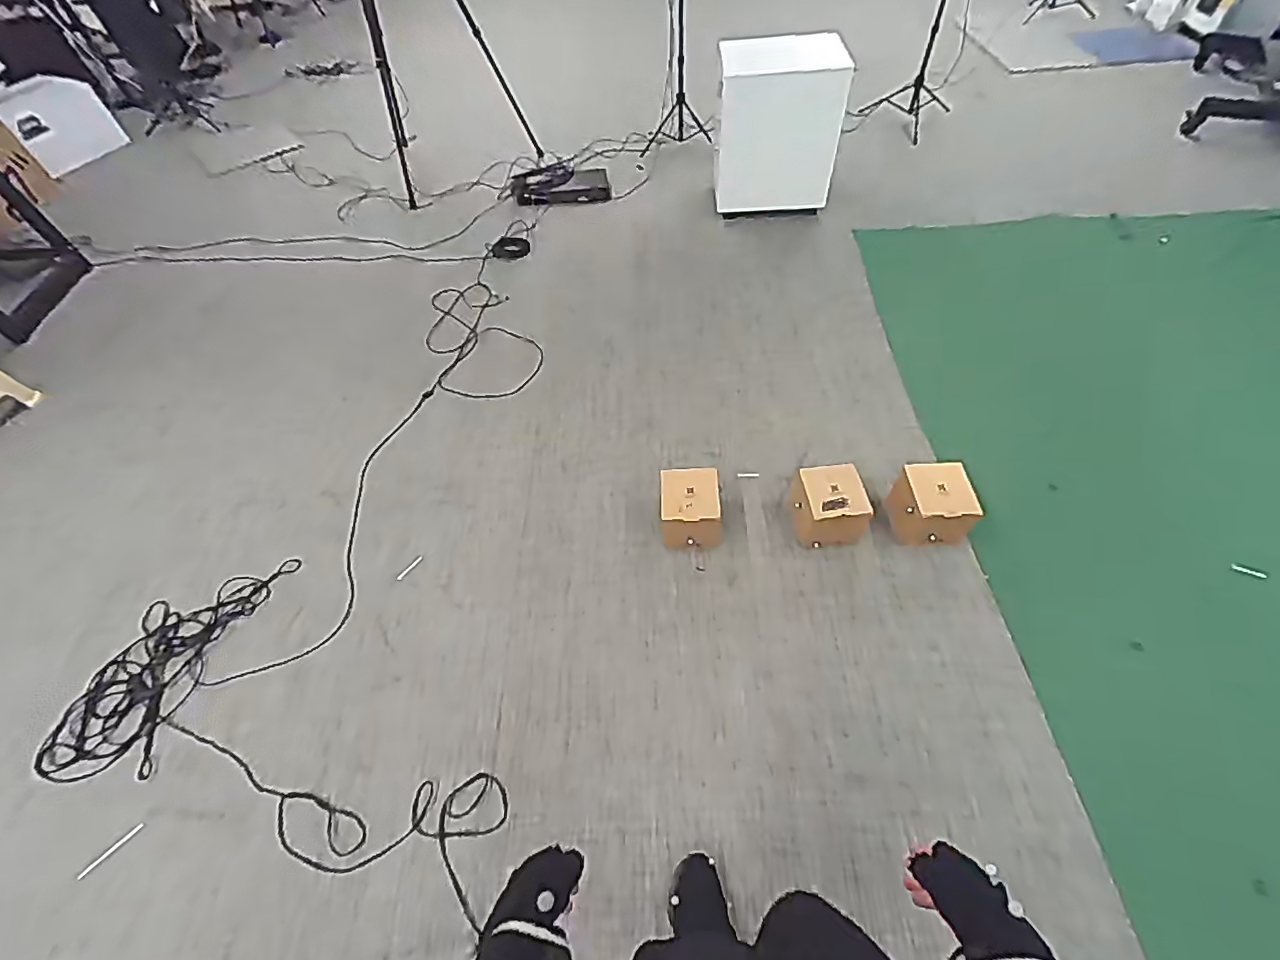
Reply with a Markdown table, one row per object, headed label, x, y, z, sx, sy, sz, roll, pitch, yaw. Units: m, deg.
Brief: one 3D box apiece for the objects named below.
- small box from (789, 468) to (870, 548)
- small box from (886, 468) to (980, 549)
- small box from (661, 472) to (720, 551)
| label | x | y | z | sx | sy | sz | roll | pitch | yaw |
| --- | --- | --- | --- | --- | --- | --- | --- | --- | --- |
| small box | 0.547 | 0.088 | 1.586 | 0.168 | 0.176 | 0.179 | -5 | 53 | -1 |
| small box | 0.840 | 0.083 | 1.572 | 0.168 | 0.176 | 0.179 | -3 | 54 | 3 |
| small box | 0.146 | 0.094 | 1.606 | 0.168 | 0.176 | 0.179 | -2 | 55 | 4 |
